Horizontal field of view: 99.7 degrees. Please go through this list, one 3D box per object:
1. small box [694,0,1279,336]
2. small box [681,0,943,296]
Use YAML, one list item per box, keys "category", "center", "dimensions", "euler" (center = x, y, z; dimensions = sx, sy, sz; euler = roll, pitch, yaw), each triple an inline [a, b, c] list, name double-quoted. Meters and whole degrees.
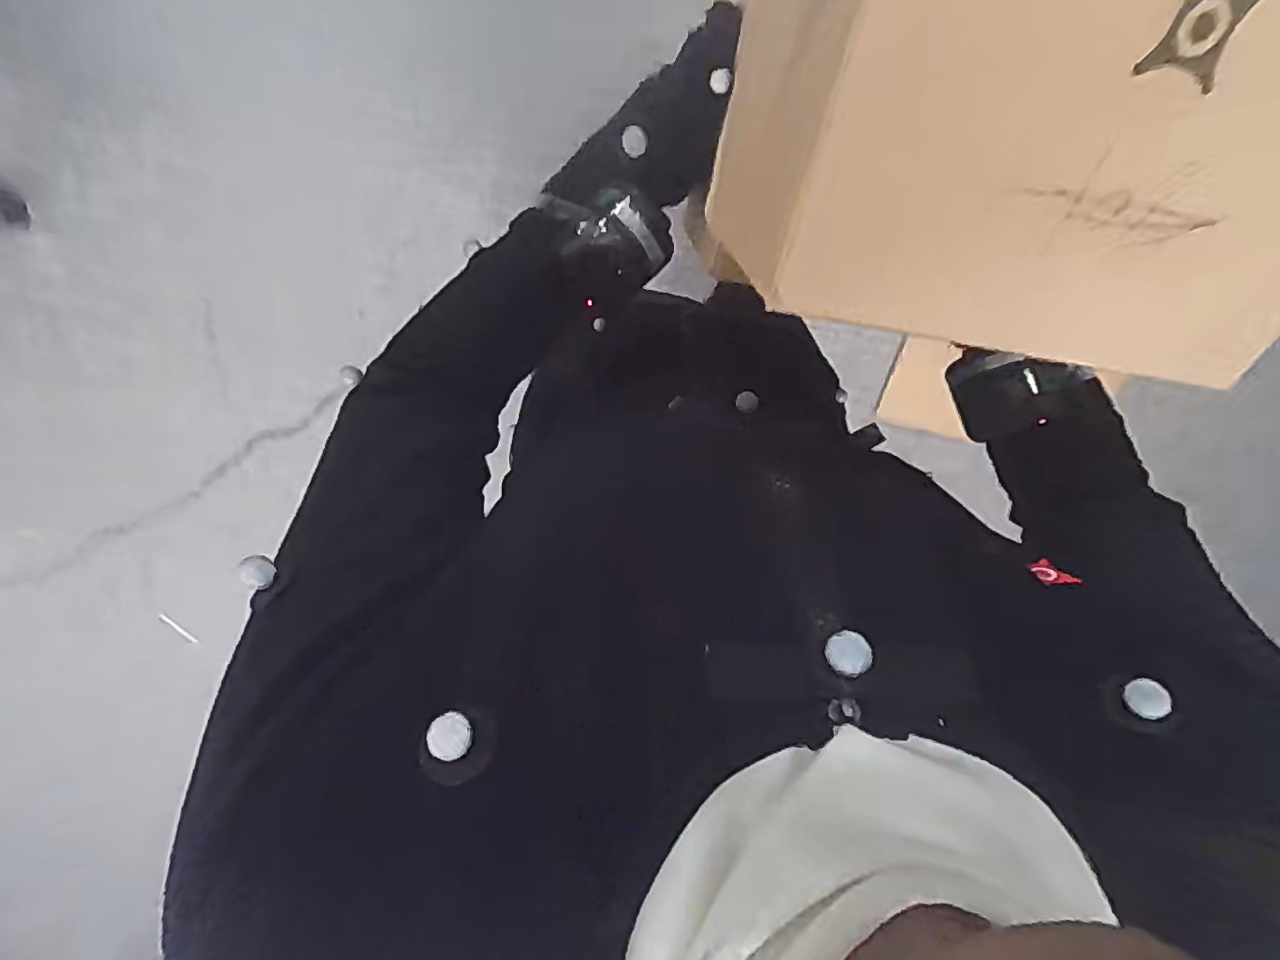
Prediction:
- category: "small box"
  center: [0.120, -0.174, 0.192]
  dimensions: [0.168, 0.176, 0.179]
  euler: [7, 125, -6]
- category: "small box"
  center: [0.122, -0.239, 0.346]
  dimensions: [0.168, 0.176, 0.179]
  euler: [5, 126, -5]
